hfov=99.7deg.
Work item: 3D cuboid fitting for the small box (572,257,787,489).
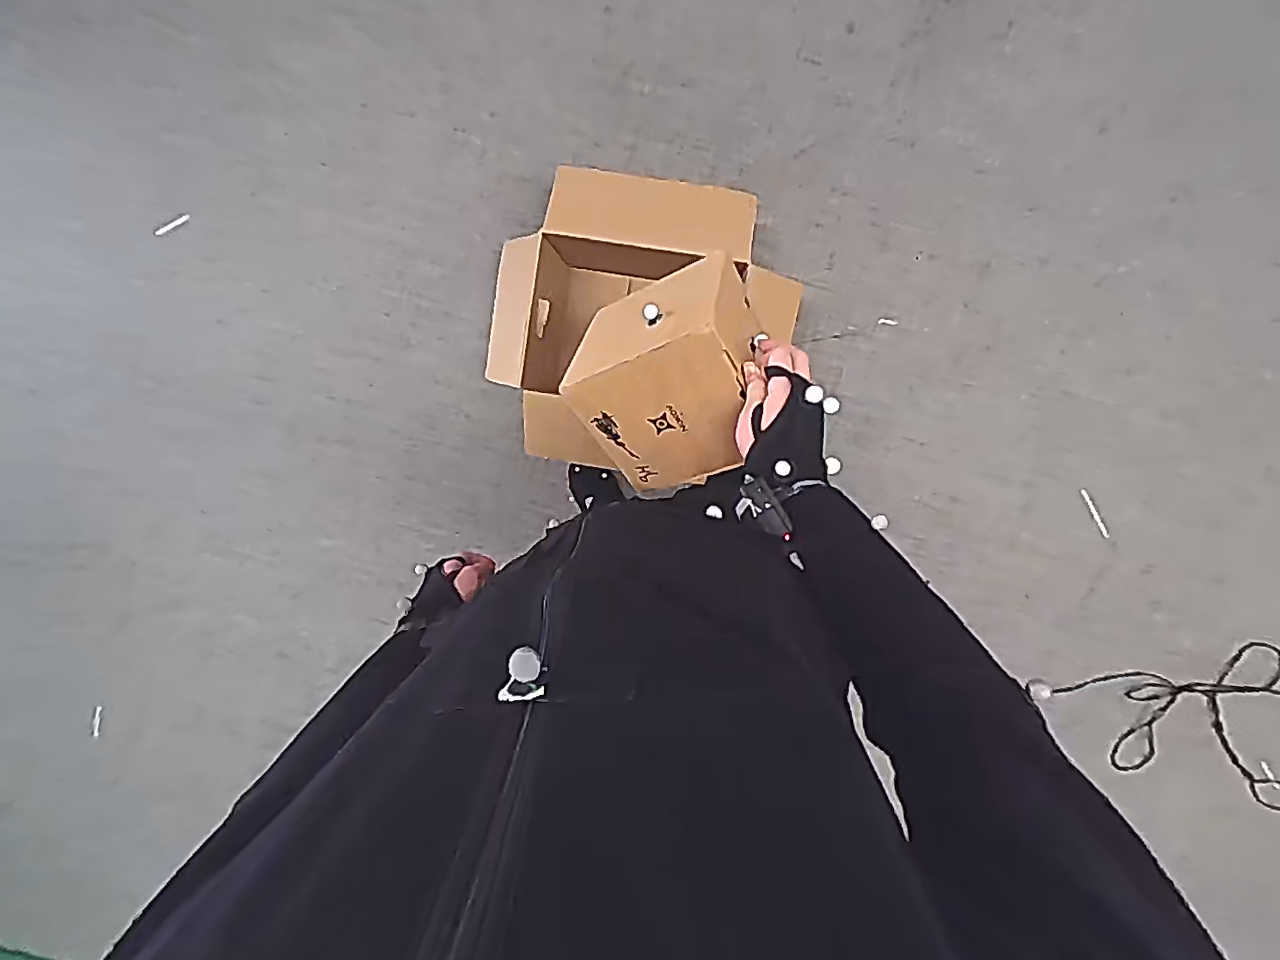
[{"bbox_3d":[0.055,-0.121,0.616,0.179,0.176,0.168,-17,126,29],"label":"small box"}]
